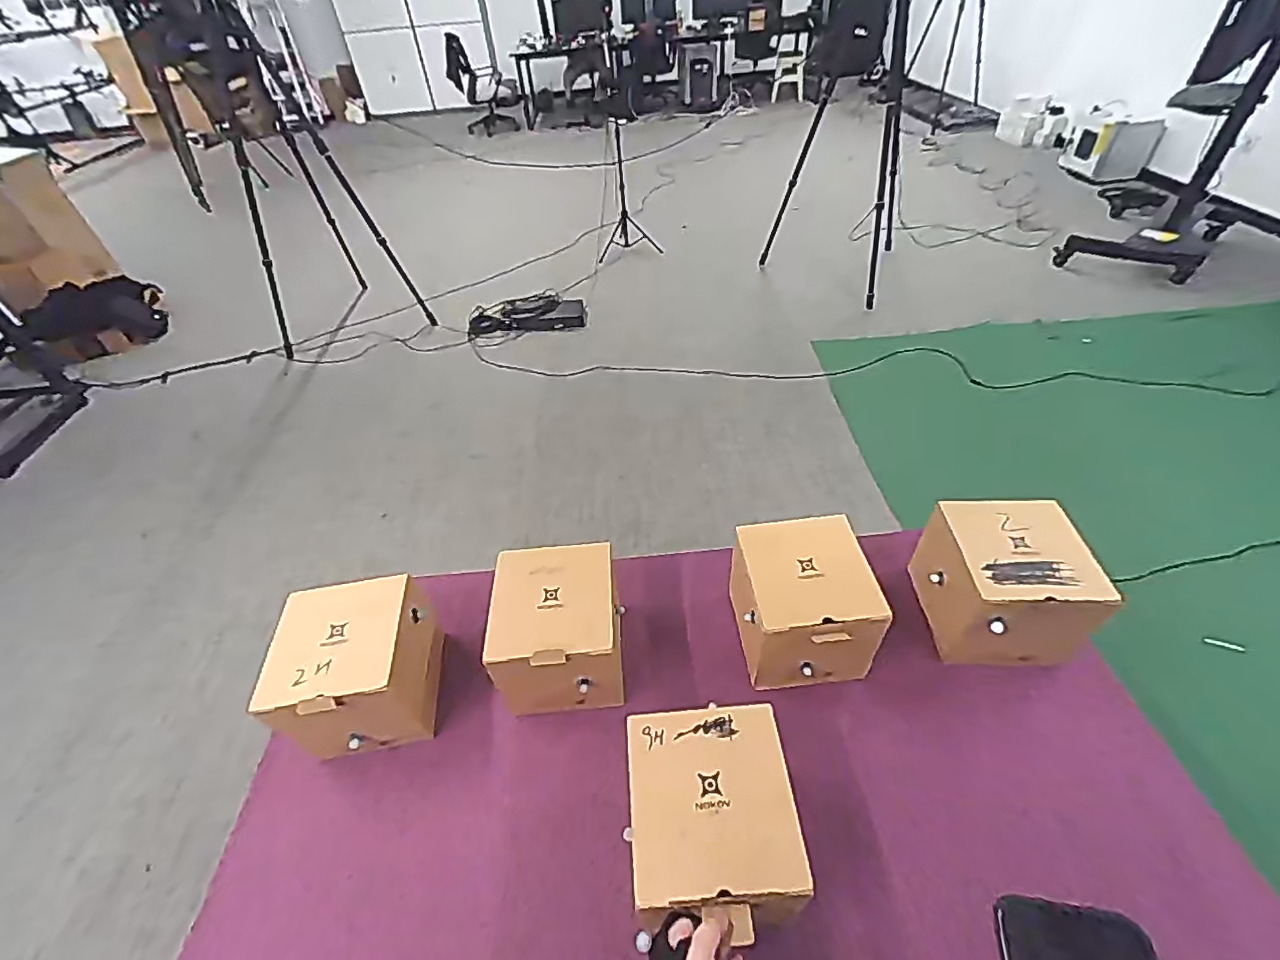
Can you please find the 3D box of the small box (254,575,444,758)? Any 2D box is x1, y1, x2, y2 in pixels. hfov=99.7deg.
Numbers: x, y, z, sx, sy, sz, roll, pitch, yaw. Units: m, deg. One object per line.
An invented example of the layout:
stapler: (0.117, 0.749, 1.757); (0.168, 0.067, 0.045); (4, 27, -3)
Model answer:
small box: (-0.390, 0.263, 0.766); (0.168, 0.176, 0.179); (-10, 45, -3)

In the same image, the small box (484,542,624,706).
small box: (-0.113, 0.215, 0.787); (0.168, 0.176, 0.179); (-5, 45, 0)

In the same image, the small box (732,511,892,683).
small box: (0.234, 0.172, 0.792); (0.168, 0.176, 0.179); (-7, 45, -1)

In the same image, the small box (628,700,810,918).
small box: (0.078, 0.372, 0.606); (0.168, 0.176, 0.179); (-5, 45, 0)
